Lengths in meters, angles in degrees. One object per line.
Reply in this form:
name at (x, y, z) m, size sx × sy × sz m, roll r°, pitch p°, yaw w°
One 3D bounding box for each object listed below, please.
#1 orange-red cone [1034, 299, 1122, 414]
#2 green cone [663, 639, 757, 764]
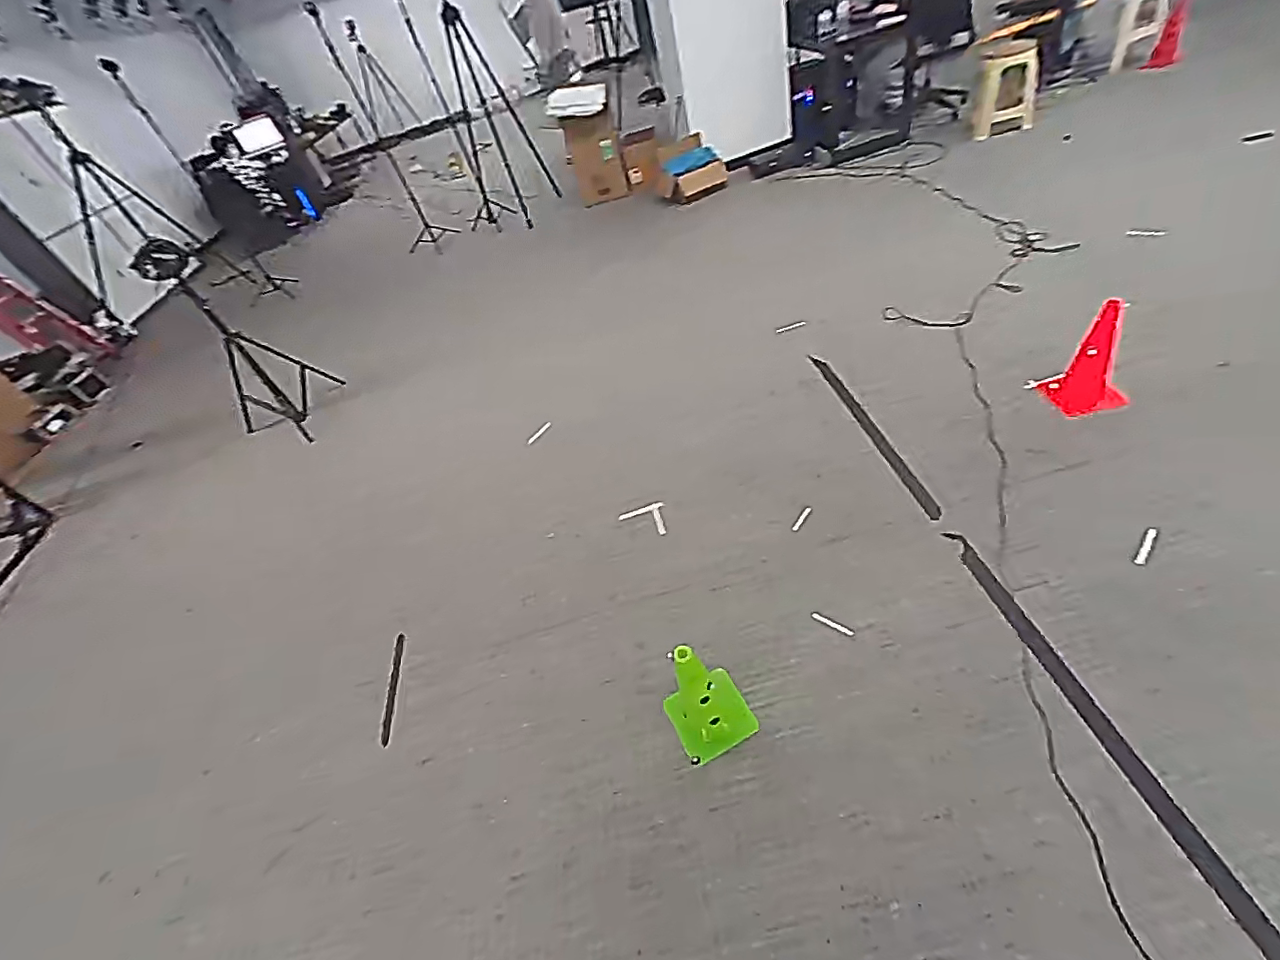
orange-red cone at (1.481, -0.424, 1.770) m, size 0.198 × 0.360 × 0.199 m, roll -13°, pitch 44°, yaw 9°
green cone at (0.139, 0.503, 1.329) m, size 0.200 × 0.368 × 0.202 m, roll -28°, pitch 42°, yaw -9°
